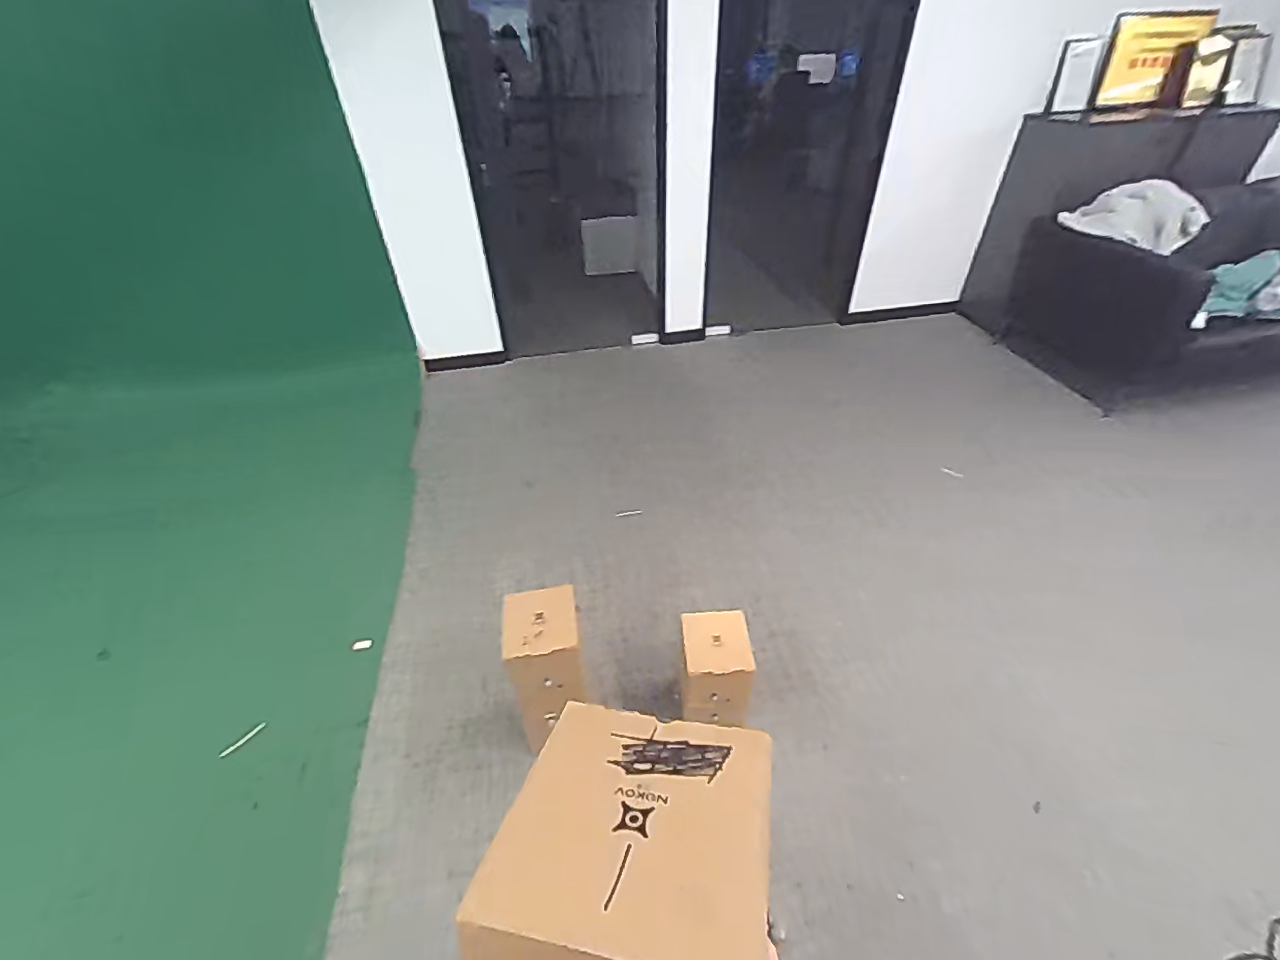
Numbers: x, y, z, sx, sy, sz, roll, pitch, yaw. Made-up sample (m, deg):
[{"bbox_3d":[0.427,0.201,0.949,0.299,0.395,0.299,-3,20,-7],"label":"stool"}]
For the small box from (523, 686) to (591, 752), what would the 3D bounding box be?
[{"bbox_3d":[-0.219,0.626,1.479,0.168,0.176,0.179,-5,41,-4],"label":"small box"}]

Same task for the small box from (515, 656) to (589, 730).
[{"bbox_3d":[-0.220,0.502,1.374,0.168,0.176,0.179,-9,41,-6],"label":"small box"}]

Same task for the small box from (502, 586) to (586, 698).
[{"bbox_3d":[-0.222,0.378,1.266,0.168,0.176,0.179,-9,40,-6],"label":"small box"}]

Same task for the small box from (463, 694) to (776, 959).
[{"bbox_3d":[0.003,0.284,0.372,0.168,0.176,0.179,2,17,15],"label":"small box"}]

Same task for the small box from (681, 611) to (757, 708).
[{"bbox_3d":[0.196,0.464,1.401,0.168,0.176,0.179,-3,41,-1],"label":"small box"}]
